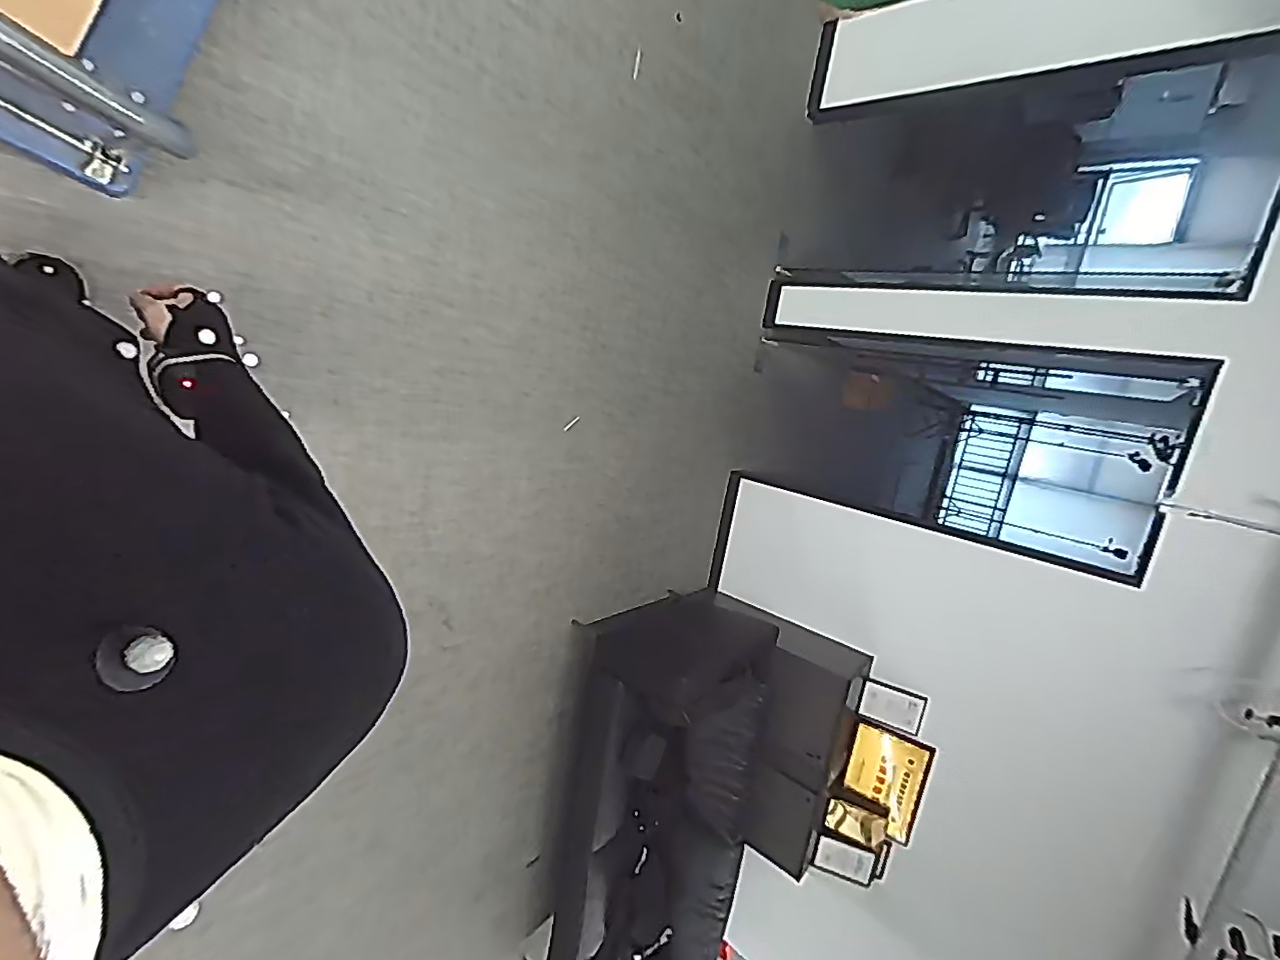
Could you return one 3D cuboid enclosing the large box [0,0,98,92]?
[{"bbox_3d":[-0.927,-0.851,0.732,0.320,0.320,0.408,25,83,-54],"label":"large box"}]
